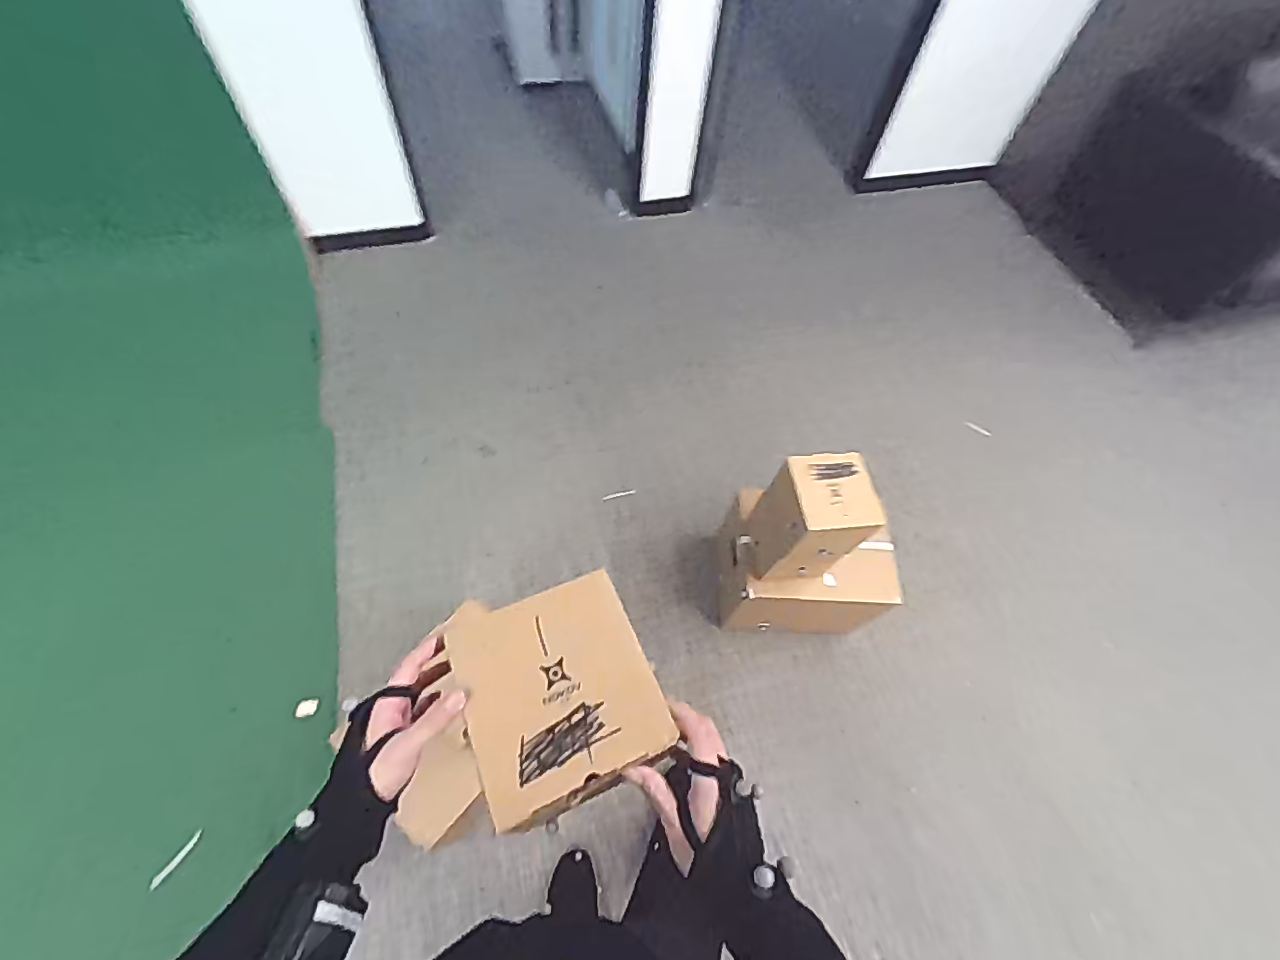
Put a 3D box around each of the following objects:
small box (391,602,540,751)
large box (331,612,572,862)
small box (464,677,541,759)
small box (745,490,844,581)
[{"bbox_3d":[-0.295,0.351,0.948,0.179,0.176,0.168,39,64,16],"label":"small box"},{"bbox_3d":[-0.406,0.584,1.277,0.320,0.320,0.408,37,64,17],"label":"large box"},{"bbox_3d":[-0.316,0.431,1.089,0.168,0.176,0.179,37,63,16],"label":"small box"},{"bbox_3d":[0.370,0.142,1.330,0.168,0.176,0.179,-3,61,-8],"label":"small box"}]
